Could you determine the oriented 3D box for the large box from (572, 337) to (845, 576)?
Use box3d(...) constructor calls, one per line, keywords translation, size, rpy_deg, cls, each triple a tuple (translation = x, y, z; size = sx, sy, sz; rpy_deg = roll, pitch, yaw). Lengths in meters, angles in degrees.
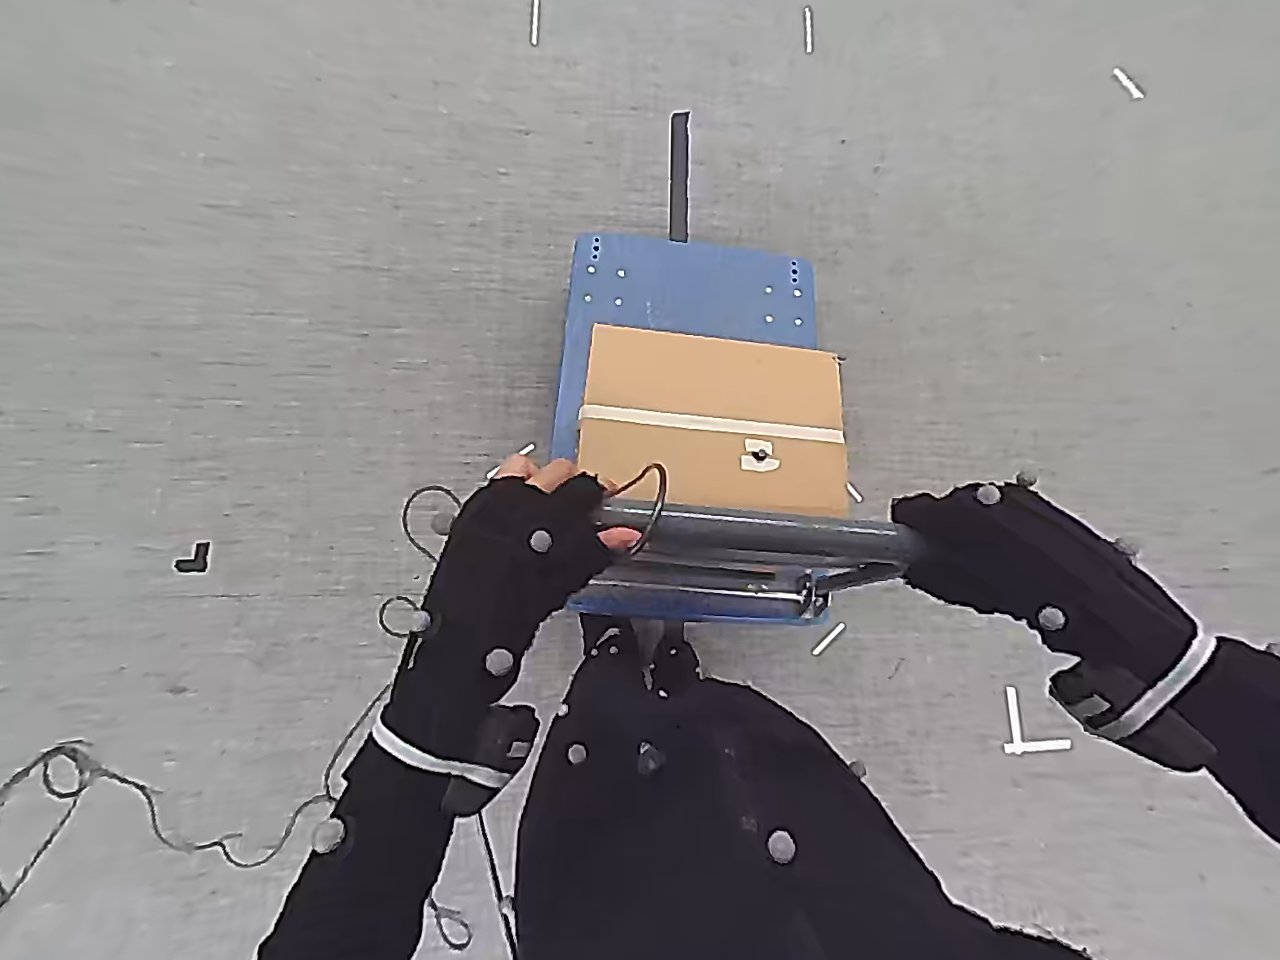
box3d(translation=(0.091, -0.018, 0.955), size=(0.408, 0.320, 0.320), rpy_deg=(5, 71, -5), cls="large box")
